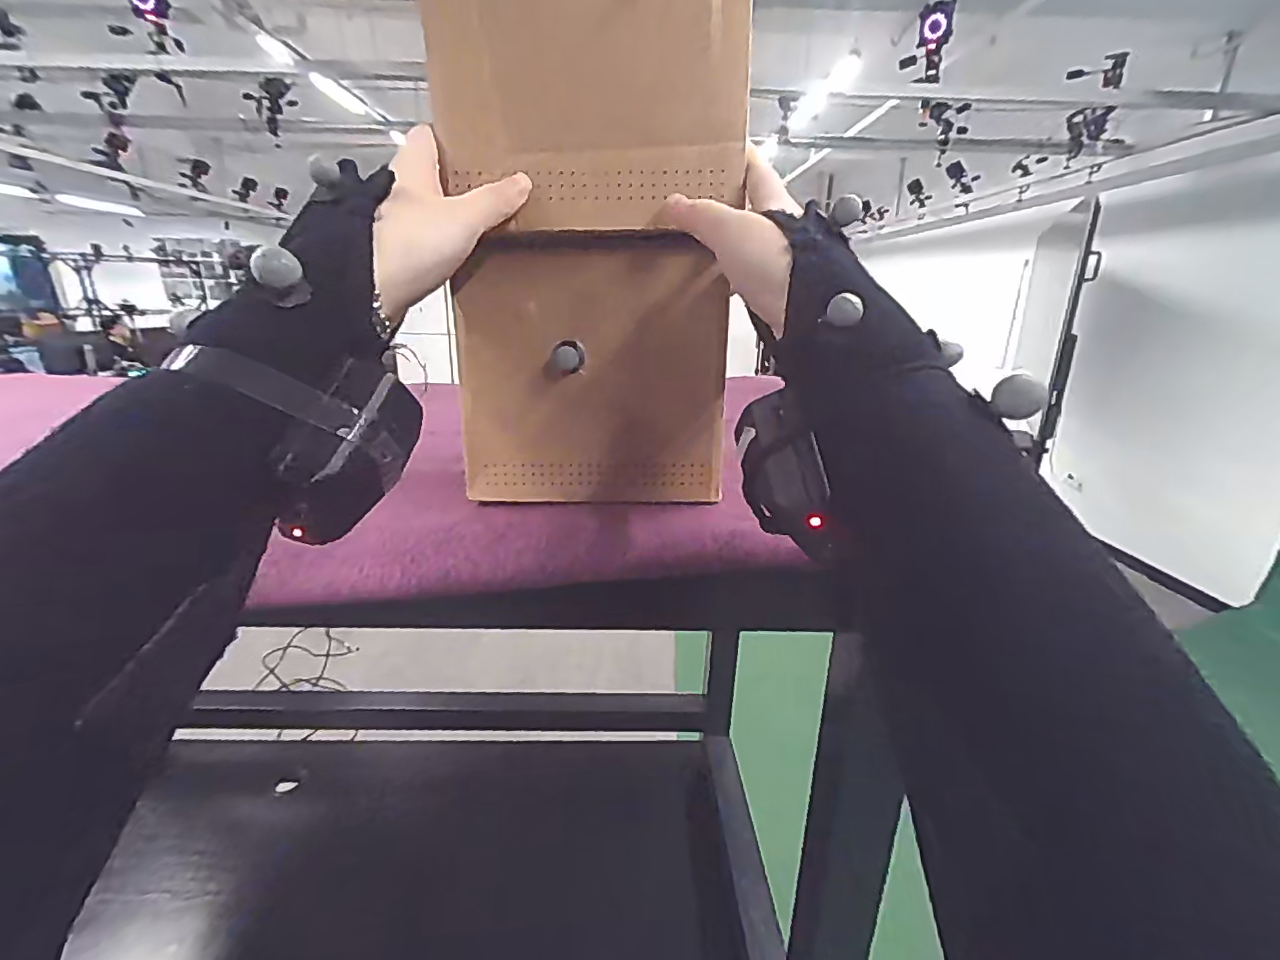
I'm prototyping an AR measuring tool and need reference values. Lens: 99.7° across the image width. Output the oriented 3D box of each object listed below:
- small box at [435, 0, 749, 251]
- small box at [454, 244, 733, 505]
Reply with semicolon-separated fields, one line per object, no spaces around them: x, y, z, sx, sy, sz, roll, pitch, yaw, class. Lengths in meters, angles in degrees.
-0.026;-0.234;0.363;0.179;0.176;0.168;0;15;-1;small box
-0.027;-0.082;0.425;0.179;0.176;0.168;0;16;0;small box
